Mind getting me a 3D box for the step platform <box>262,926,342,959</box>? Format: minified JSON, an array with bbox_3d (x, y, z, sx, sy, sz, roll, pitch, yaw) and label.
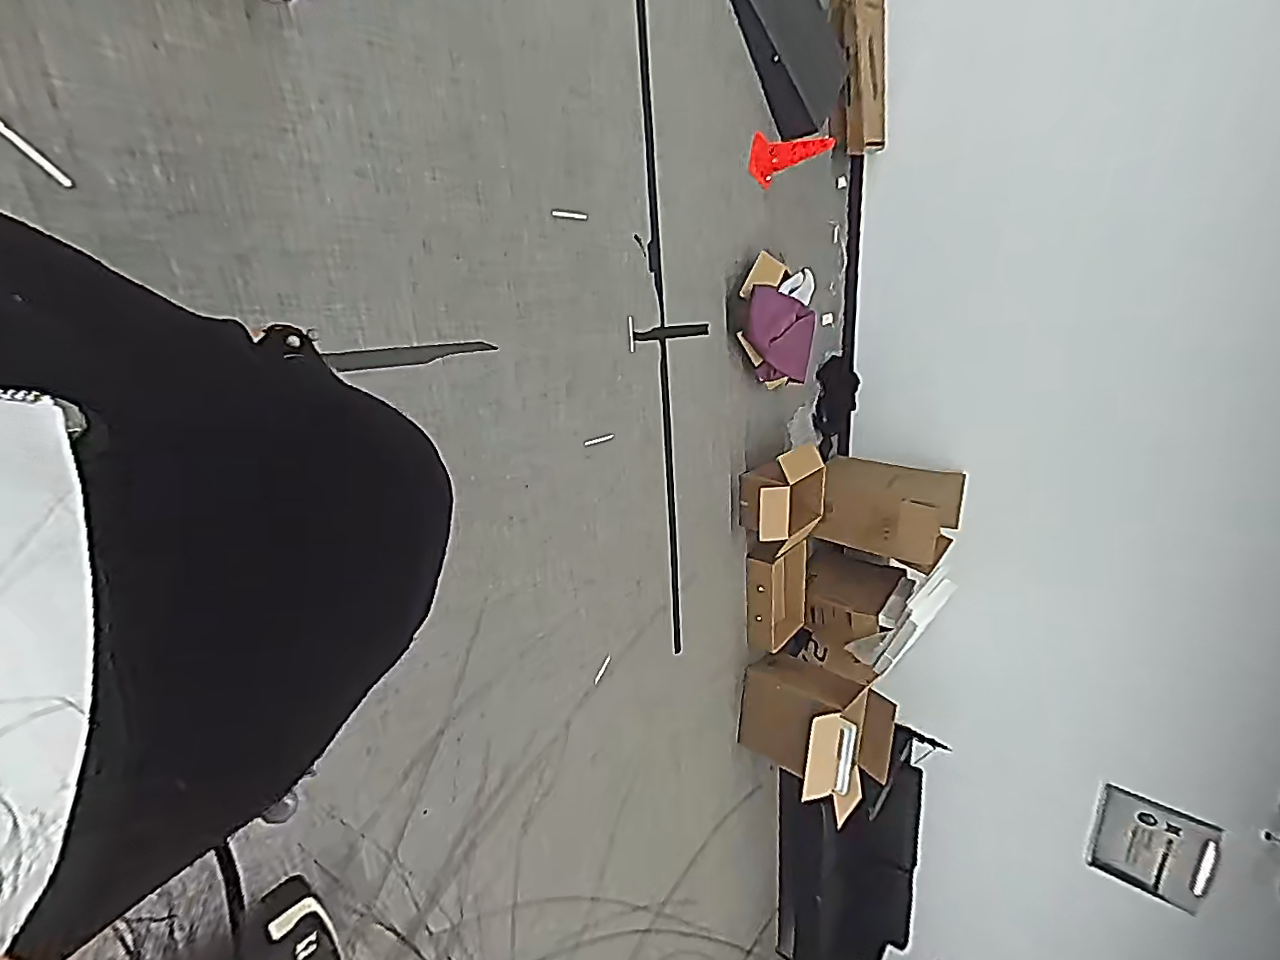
[{"bbox_3d":[-0.961,1.338,1.126,0.684,0.204,0.286,-24,117,-43],"label":"step platform"}]
